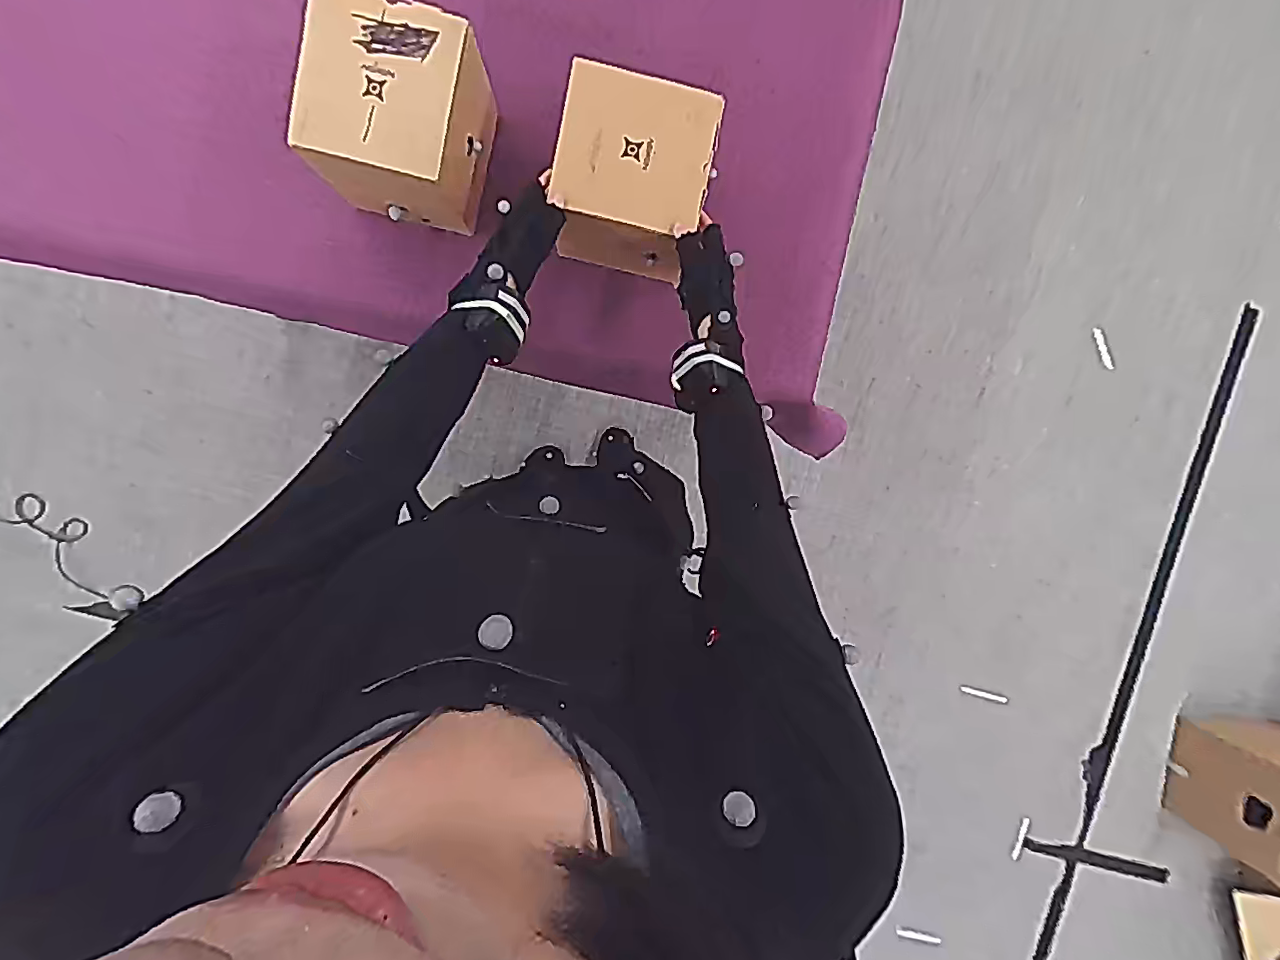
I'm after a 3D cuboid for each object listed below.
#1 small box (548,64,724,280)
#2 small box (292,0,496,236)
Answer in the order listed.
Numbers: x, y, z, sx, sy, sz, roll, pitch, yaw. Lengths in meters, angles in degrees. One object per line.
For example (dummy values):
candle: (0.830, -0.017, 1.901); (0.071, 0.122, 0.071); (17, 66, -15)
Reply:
small box: (-0.008, -0.372, 0.689); (0.179, 0.176, 0.168); (11, 91, -3)
small box: (-0.284, -0.433, 0.665); (0.168, 0.176, 0.179); (12, 94, -5)
